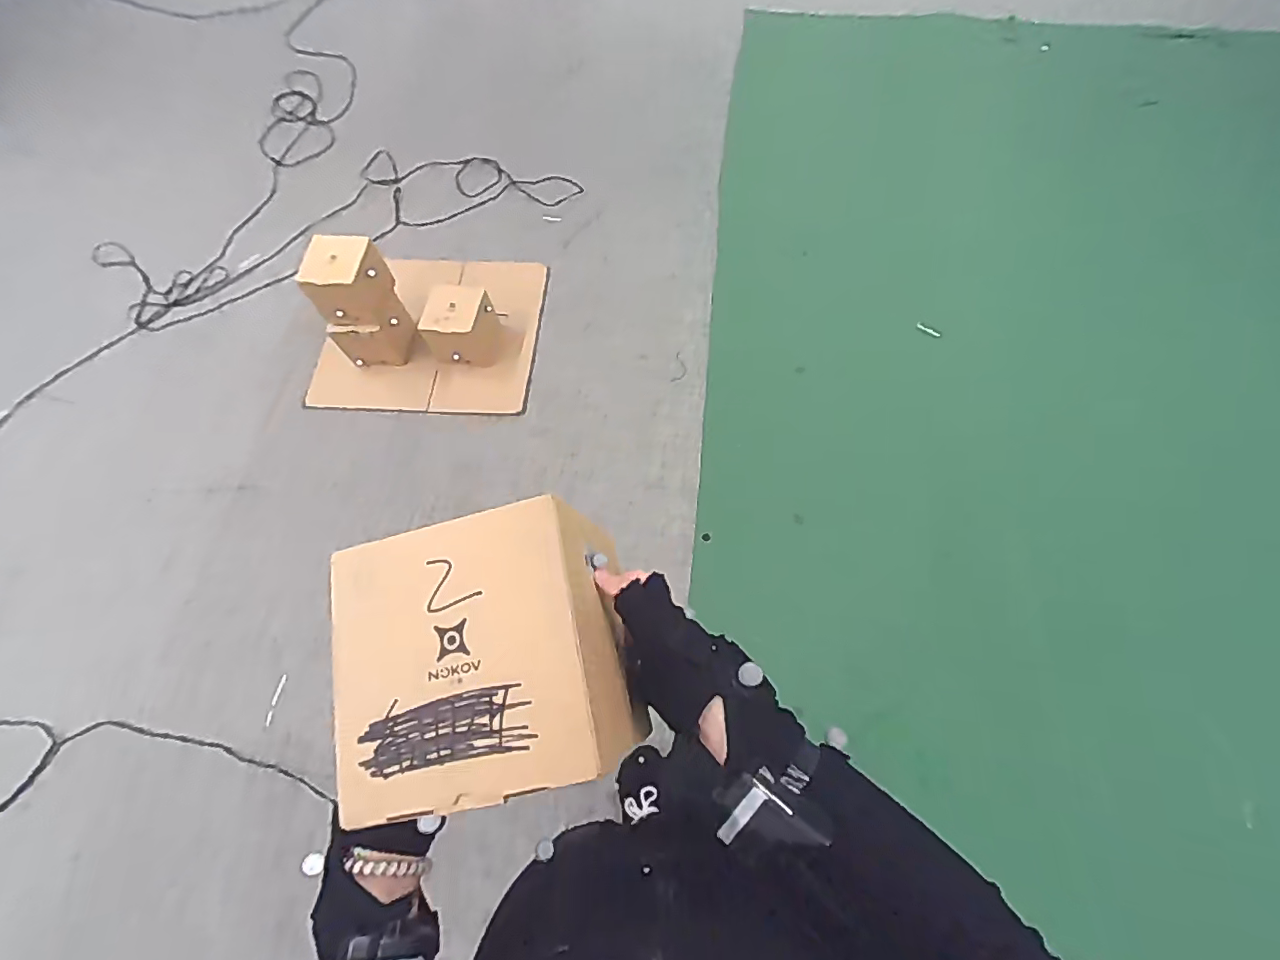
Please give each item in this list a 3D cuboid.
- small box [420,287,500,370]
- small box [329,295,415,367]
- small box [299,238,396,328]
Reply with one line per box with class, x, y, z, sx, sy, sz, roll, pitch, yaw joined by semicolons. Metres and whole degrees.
small box;-0.549;-0.470;1.680;0.168;0.176;0.179;6;67;6
small box;-0.828;-0.470;1.689;0.168;0.176;0.179;1;66;3
small box;-0.827;-0.562;1.552;0.168;0.176;0.179;3;66;4
